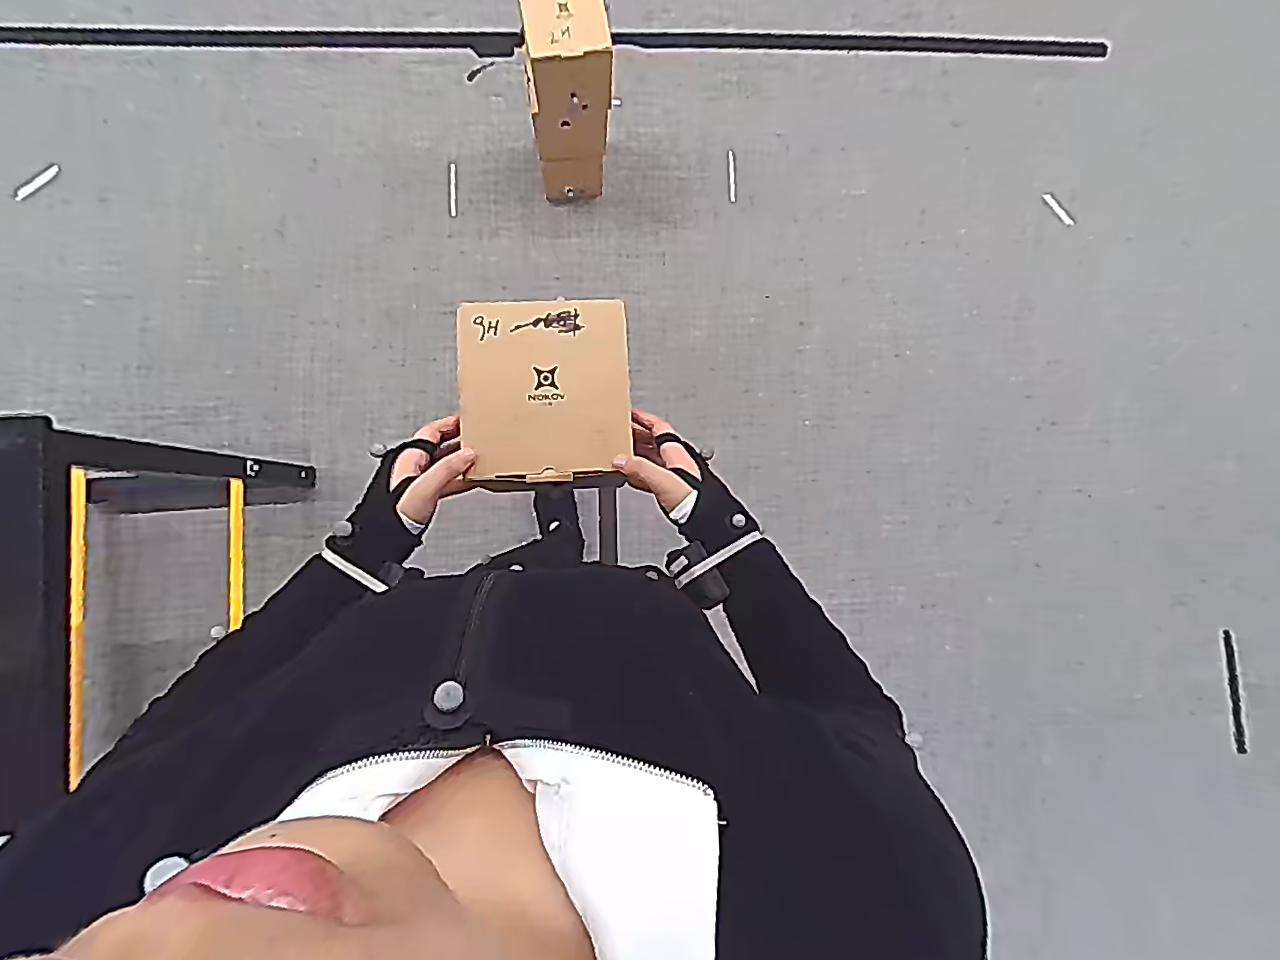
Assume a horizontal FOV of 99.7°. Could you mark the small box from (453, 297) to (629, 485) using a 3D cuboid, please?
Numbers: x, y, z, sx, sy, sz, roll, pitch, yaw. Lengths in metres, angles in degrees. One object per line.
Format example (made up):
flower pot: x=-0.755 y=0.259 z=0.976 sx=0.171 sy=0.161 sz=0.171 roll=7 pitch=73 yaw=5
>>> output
small box: x=-0.099 y=-0.084 z=0.596 sx=0.168 sy=0.176 sz=0.179 roll=-3 pitch=86 yaw=-5

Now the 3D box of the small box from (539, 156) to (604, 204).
small box: x=-0.192 y=-0.885 z=1.467 sx=0.168 sy=0.176 sz=0.179 roll=-9 pitch=88 yaw=-4

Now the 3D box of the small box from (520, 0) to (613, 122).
small box: x=-0.155 y=-0.904 z=1.140 sx=0.168 sy=0.176 sz=0.179 roll=-11 pitch=88 yaw=-4

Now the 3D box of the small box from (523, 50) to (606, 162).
small box: x=-0.175 y=-0.898 z=1.304 sx=0.179 sy=0.176 sz=0.168 roll=-7 pitch=87 yaw=-5
